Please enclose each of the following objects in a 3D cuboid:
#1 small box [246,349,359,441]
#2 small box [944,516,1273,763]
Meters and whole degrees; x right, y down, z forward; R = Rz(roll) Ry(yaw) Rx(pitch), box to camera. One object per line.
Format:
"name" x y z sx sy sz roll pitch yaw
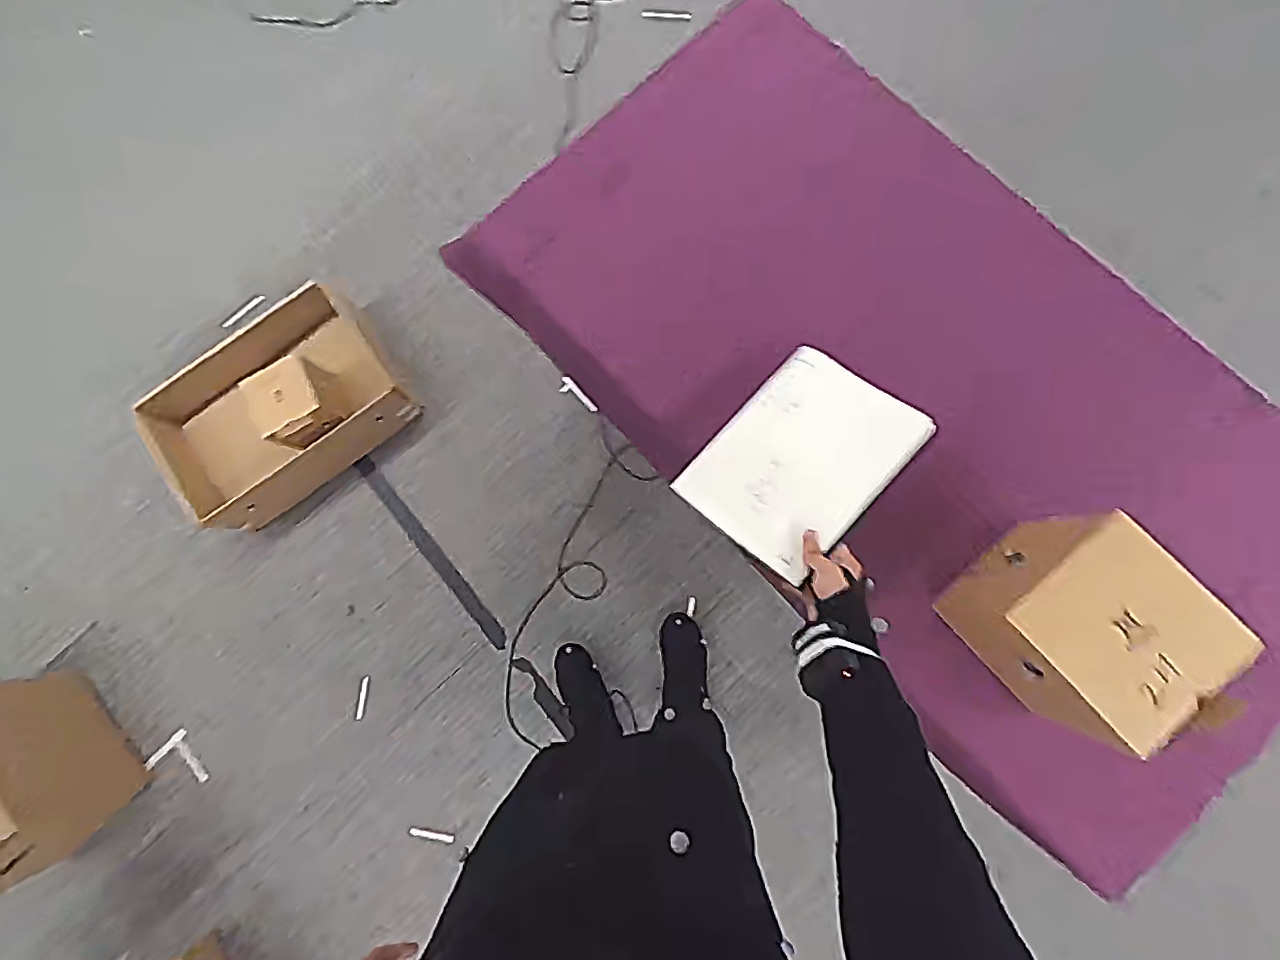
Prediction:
"small box" -0.898 -0.217 1.456 0.168 0.176 0.179 -27 81 0
"small box" 0.486 0.163 0.598 0.168 0.176 0.179 -39 81 -2
